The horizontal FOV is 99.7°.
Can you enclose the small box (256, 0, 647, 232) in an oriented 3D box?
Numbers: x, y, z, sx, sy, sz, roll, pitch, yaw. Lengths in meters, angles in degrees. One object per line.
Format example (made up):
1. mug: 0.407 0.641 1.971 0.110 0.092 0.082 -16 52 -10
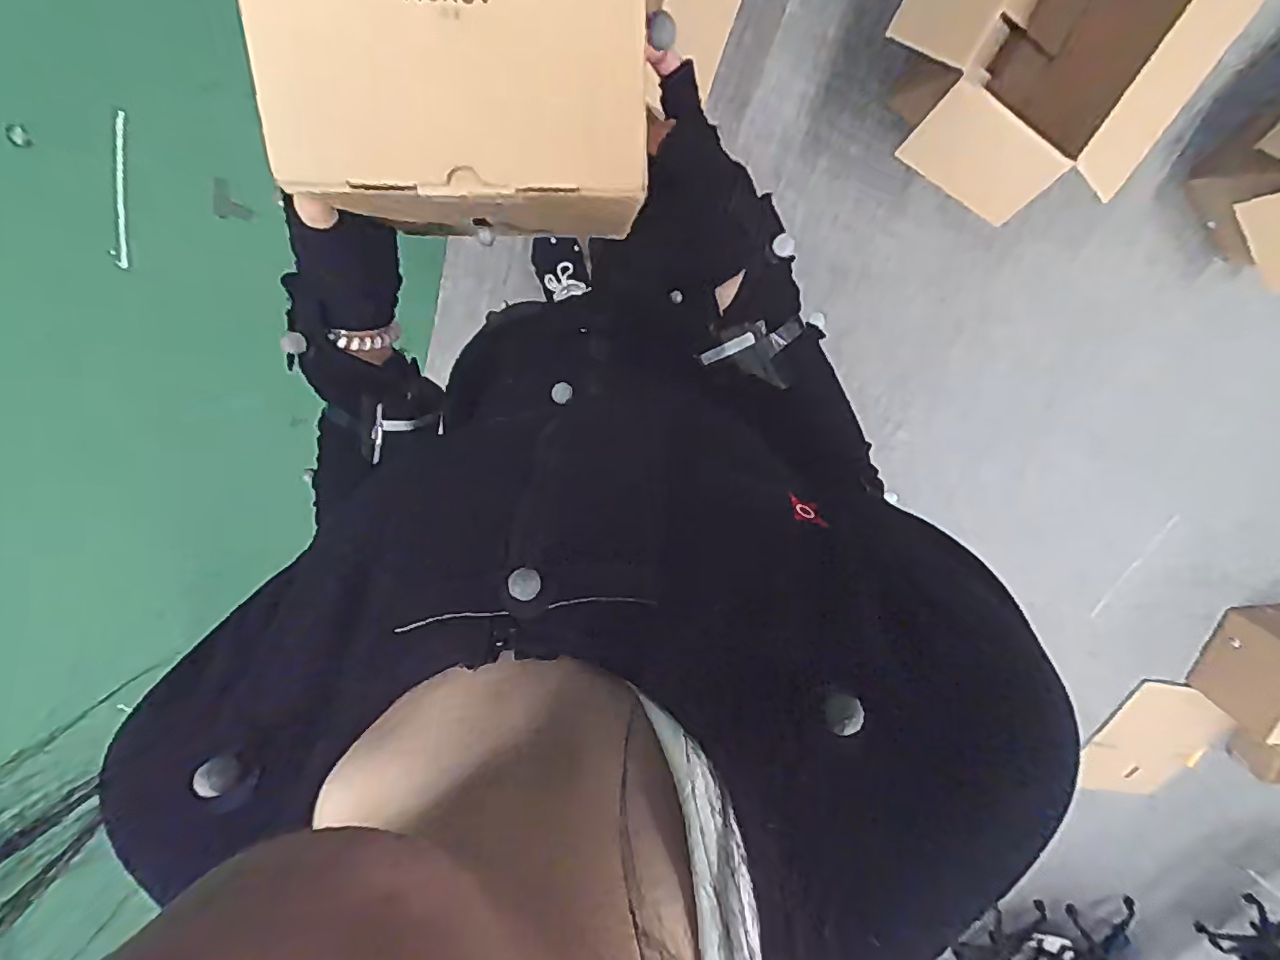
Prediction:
1. small box: -0.085 -0.245 0.303 0.168 0.176 0.179 -2 109 -4
